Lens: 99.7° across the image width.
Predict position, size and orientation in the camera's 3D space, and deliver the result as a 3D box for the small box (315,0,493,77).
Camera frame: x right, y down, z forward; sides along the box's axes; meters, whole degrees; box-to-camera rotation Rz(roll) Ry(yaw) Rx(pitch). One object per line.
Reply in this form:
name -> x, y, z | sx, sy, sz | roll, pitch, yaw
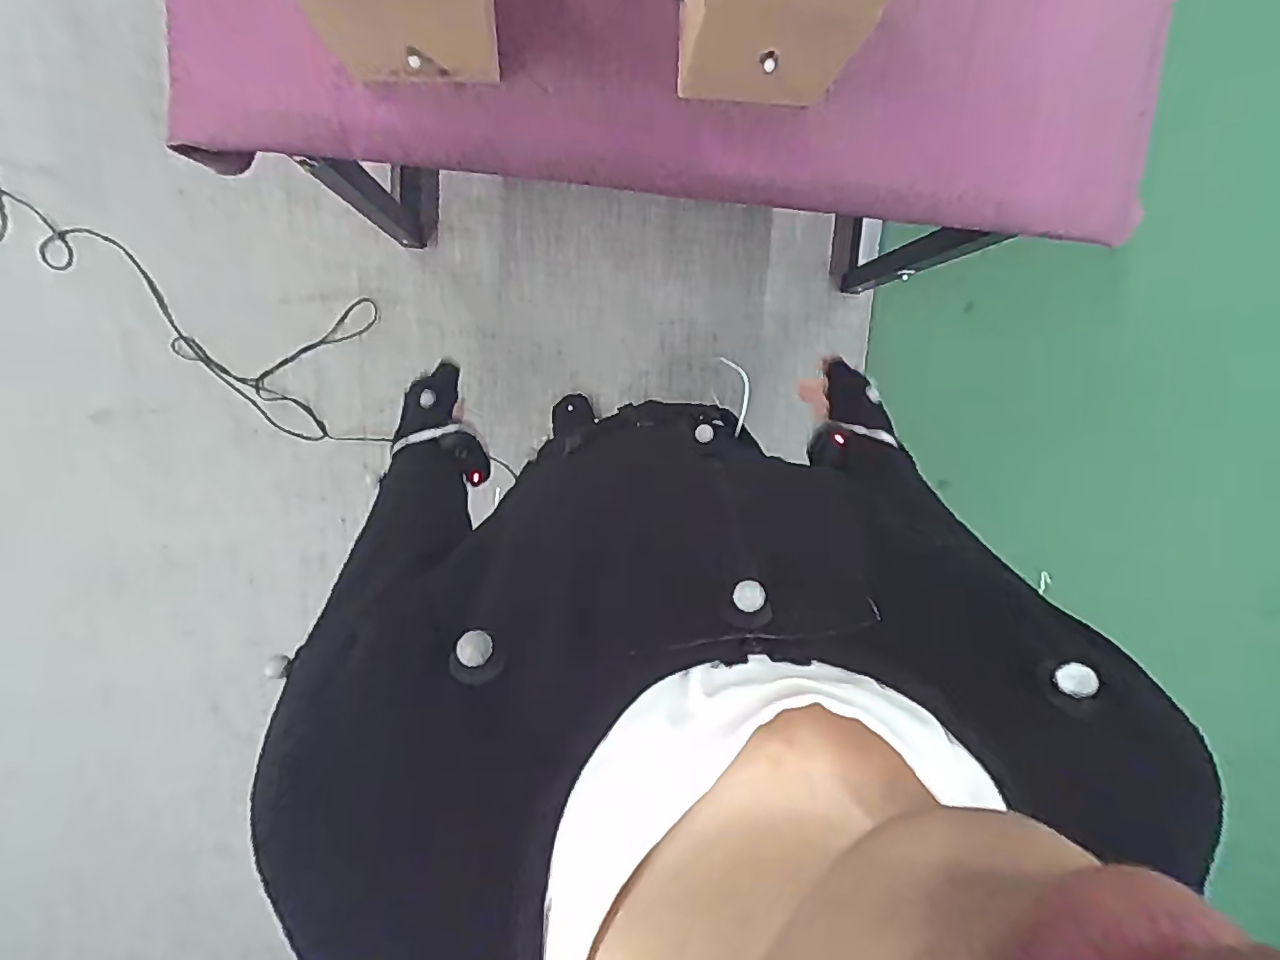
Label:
small box -> -0.246, -0.549, 0.539 | 0.168, 0.176, 0.179 | -3, 99, -6
